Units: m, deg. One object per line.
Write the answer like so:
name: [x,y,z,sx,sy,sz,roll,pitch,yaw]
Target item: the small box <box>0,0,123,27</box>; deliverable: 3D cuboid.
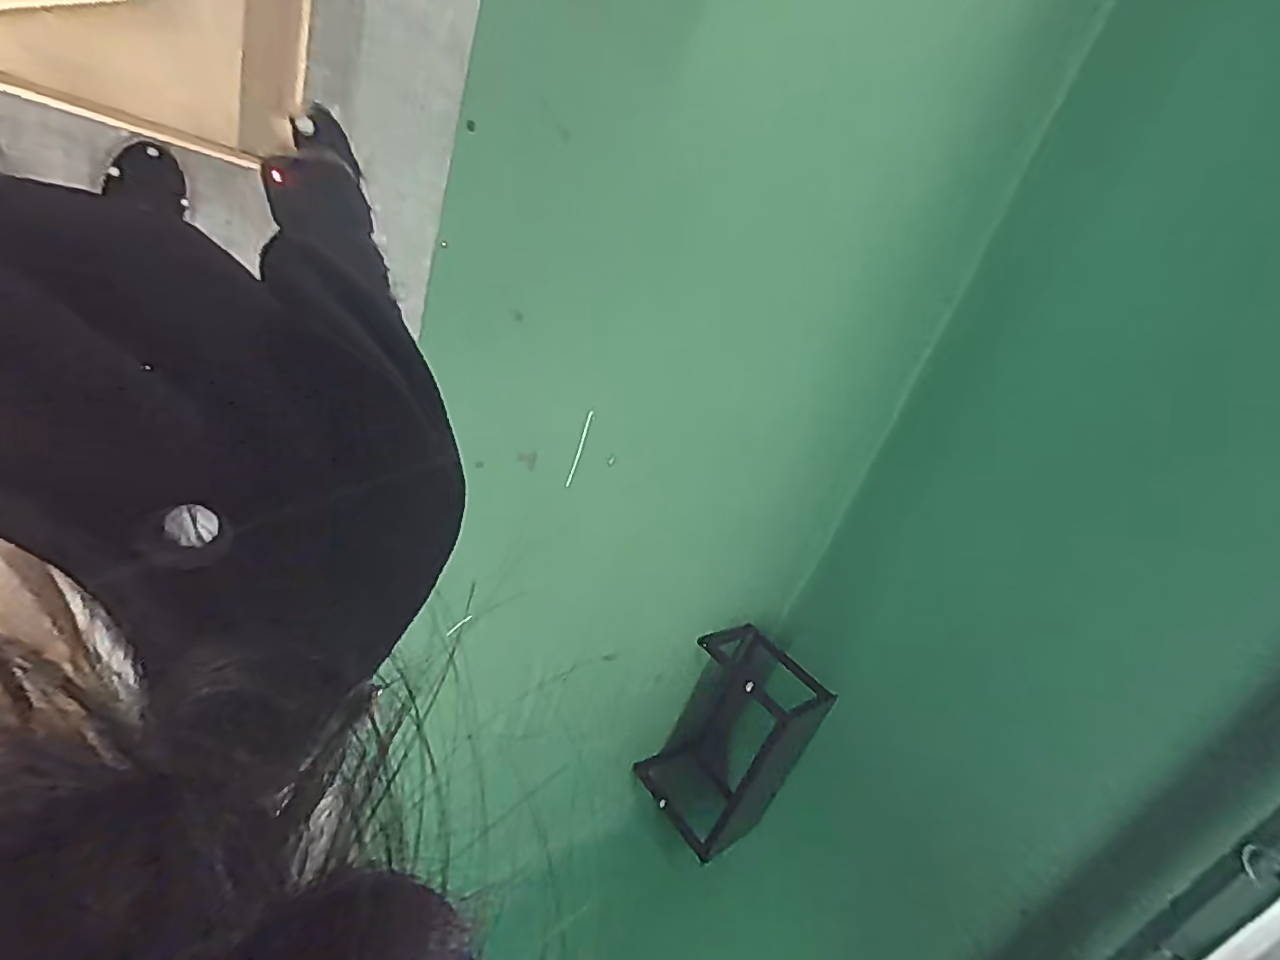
small box: [-0.862,-0.740,0.742,0.179,0.176,0.168,-29,135,-24]
